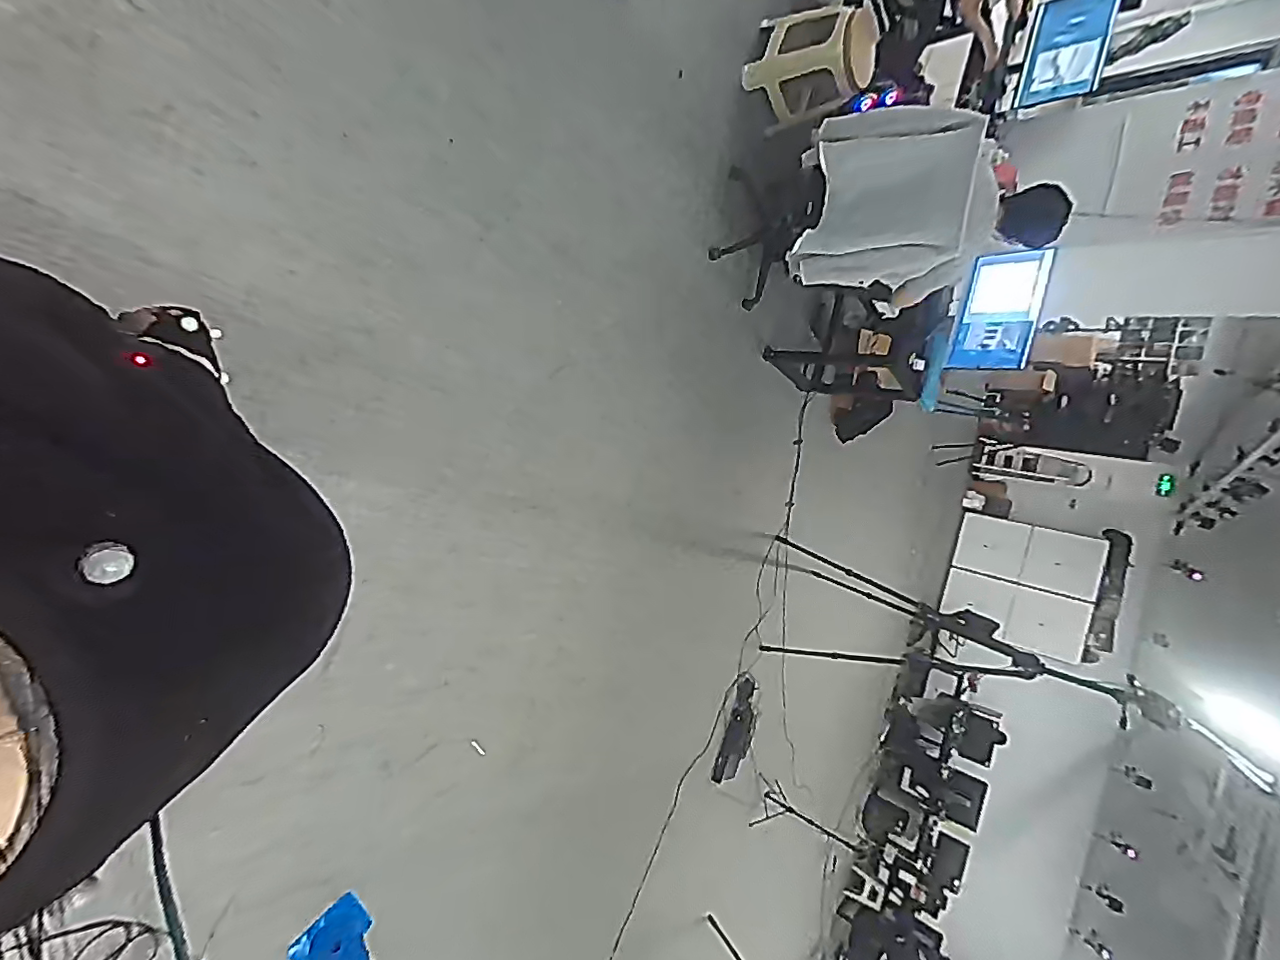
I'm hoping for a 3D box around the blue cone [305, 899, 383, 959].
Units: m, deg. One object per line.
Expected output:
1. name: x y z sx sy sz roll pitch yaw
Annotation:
1. blue cone: -0.803 1.461 1.593 0.193 0.380 0.192 -39 127 -39
